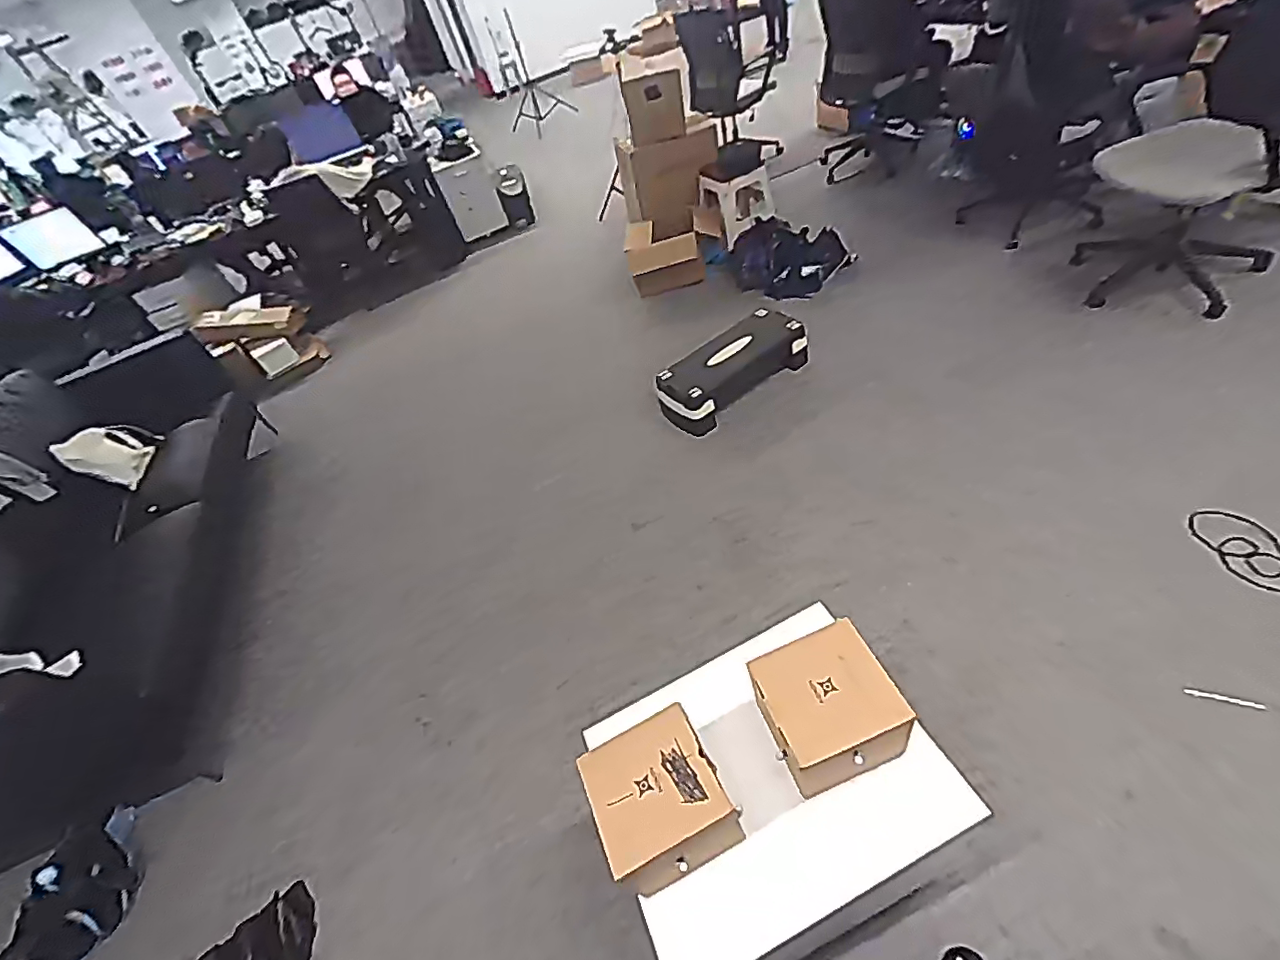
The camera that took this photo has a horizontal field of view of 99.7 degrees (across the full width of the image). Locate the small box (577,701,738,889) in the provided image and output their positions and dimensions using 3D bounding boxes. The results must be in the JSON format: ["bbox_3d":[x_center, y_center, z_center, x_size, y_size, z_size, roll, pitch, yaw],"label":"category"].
[{"bbox_3d":[0.032,0.470,0.807,0.179,0.176,0.168,-28,45,-6],"label":"small box"}]

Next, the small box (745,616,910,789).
[{"bbox_3d":[0.284,0.348,0.836,0.179,0.176,0.168,-23,46,-3],"label":"small box"}]
